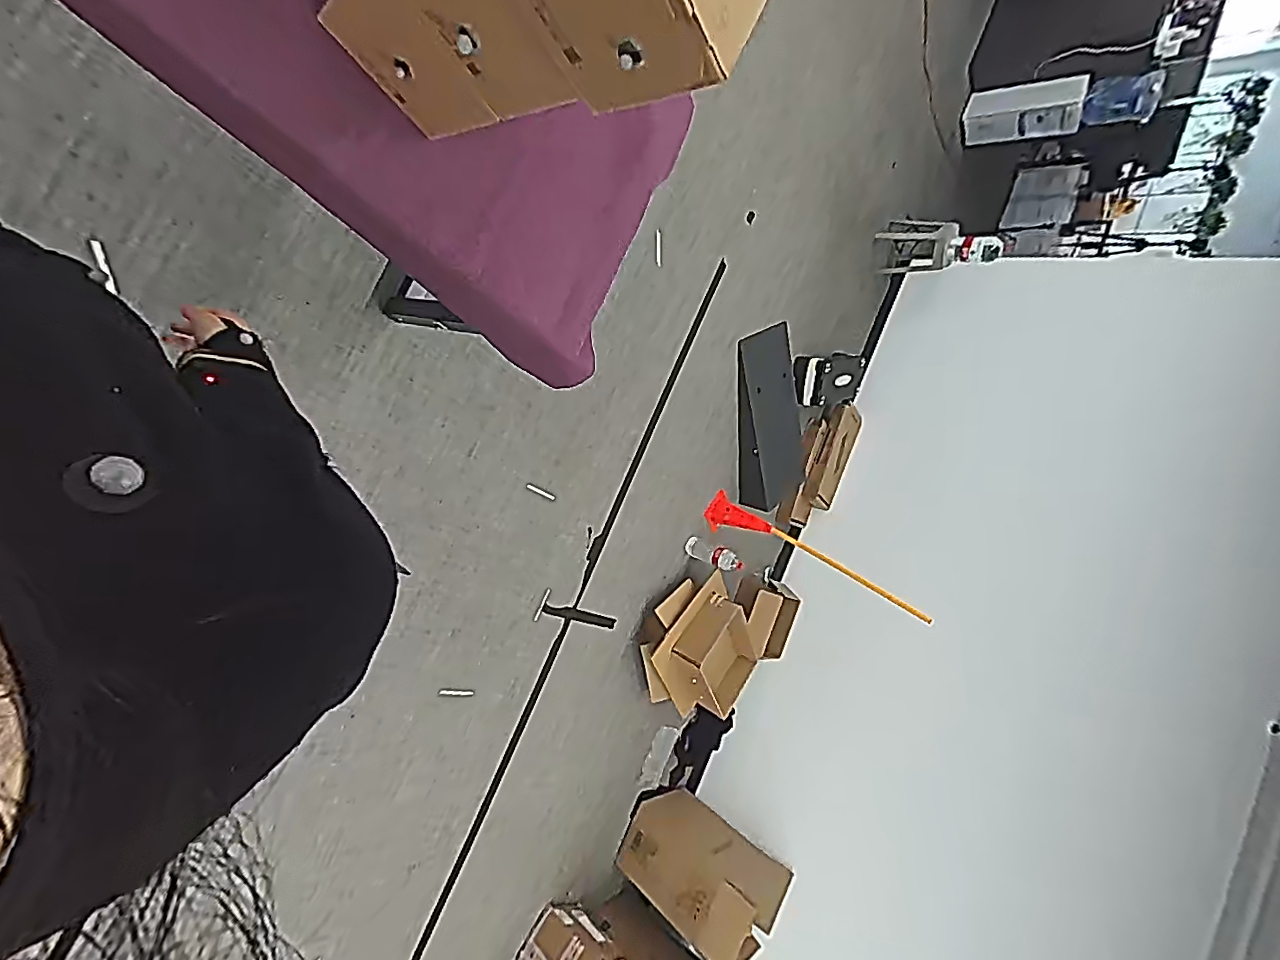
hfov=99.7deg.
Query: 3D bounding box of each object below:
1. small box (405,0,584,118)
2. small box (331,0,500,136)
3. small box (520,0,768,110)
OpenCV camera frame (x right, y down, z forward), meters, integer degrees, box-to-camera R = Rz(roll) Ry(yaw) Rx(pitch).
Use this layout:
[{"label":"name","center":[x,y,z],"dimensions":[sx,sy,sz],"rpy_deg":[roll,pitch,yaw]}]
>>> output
[{"label":"small box","center":[-0.111,-0.516,0.555],"dimensions":[0.168,0.176,0.179],"rpy_deg":[37,76,-51]},{"label":"small box","center":[-0.237,-0.555,0.652],"dimensions":[0.168,0.176,0.179],"rpy_deg":[38,75,-51]},{"label":"small box","center":[0.003,-0.455,0.454],"dimensions":[0.168,0.176,0.179],"rpy_deg":[32,79,-52]}]
